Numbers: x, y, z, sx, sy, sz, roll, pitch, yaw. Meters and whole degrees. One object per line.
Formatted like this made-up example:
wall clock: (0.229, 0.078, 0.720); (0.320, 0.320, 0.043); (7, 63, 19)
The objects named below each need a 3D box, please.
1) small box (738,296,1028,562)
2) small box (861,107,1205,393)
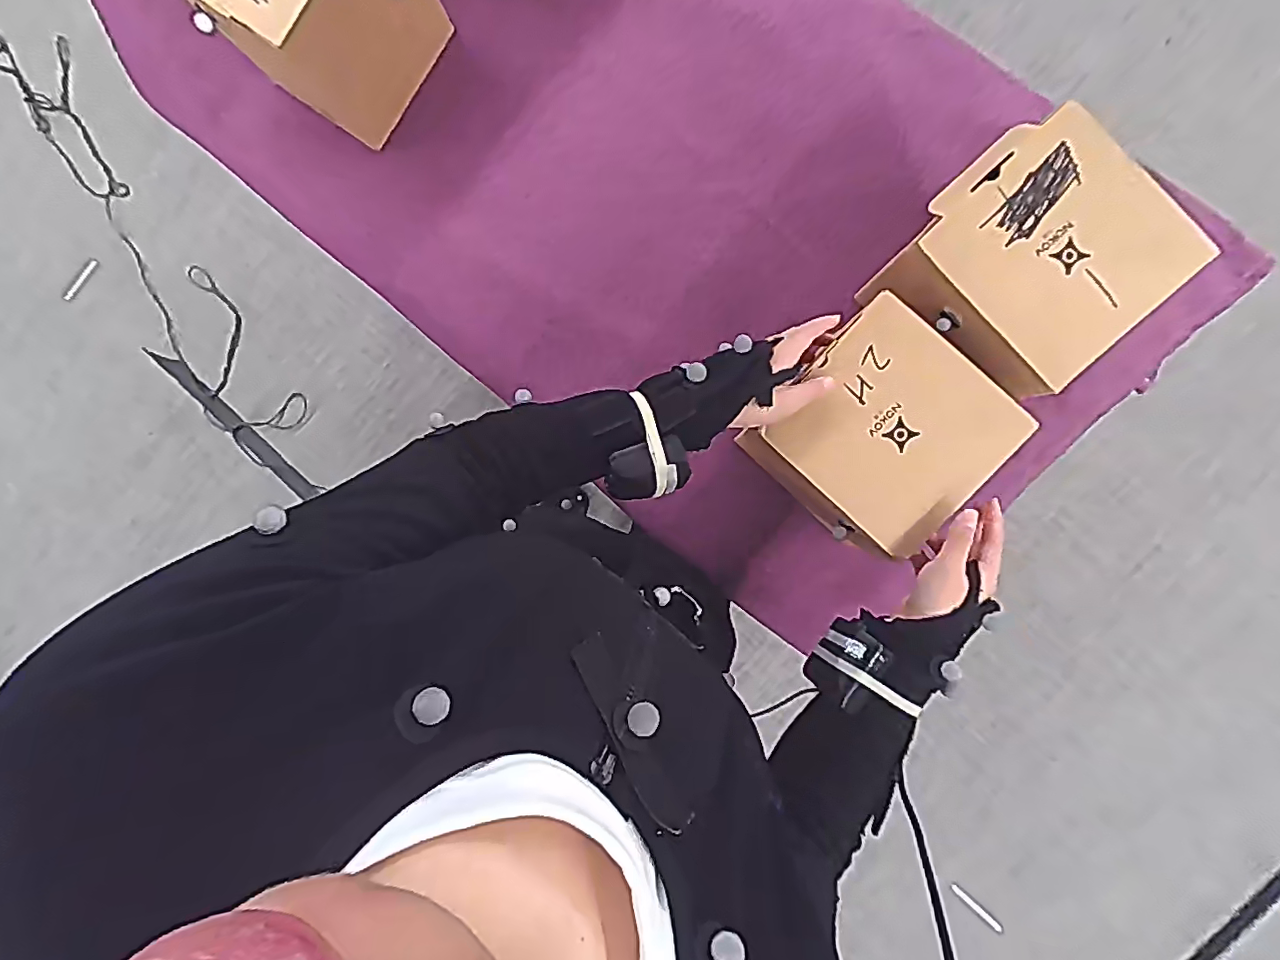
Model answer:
small box: (0.221, -0.046, 0.546); (0.179, 0.176, 0.168); (44, 93, 3)
small box: (0.353, -0.197, 0.530); (0.168, 0.176, 0.179); (-42, 89, 6)
